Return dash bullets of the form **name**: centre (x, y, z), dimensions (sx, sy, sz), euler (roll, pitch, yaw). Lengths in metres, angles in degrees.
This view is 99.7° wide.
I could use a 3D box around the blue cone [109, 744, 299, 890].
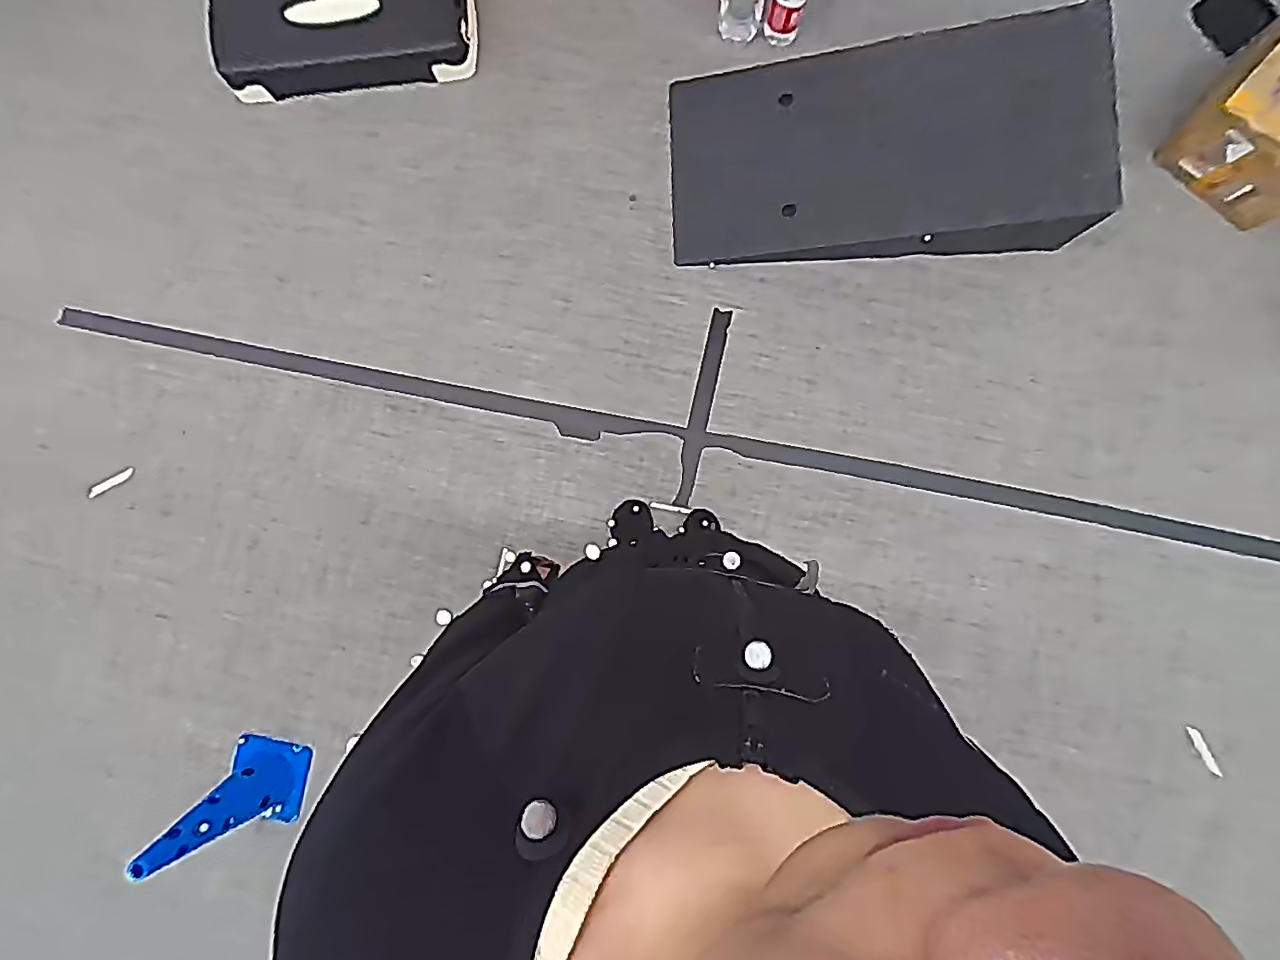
- **blue cone**: centre (-0.983, 0.778, 1.221), dimensions (0.192, 0.380, 0.193), euler (13, 88, 4)
